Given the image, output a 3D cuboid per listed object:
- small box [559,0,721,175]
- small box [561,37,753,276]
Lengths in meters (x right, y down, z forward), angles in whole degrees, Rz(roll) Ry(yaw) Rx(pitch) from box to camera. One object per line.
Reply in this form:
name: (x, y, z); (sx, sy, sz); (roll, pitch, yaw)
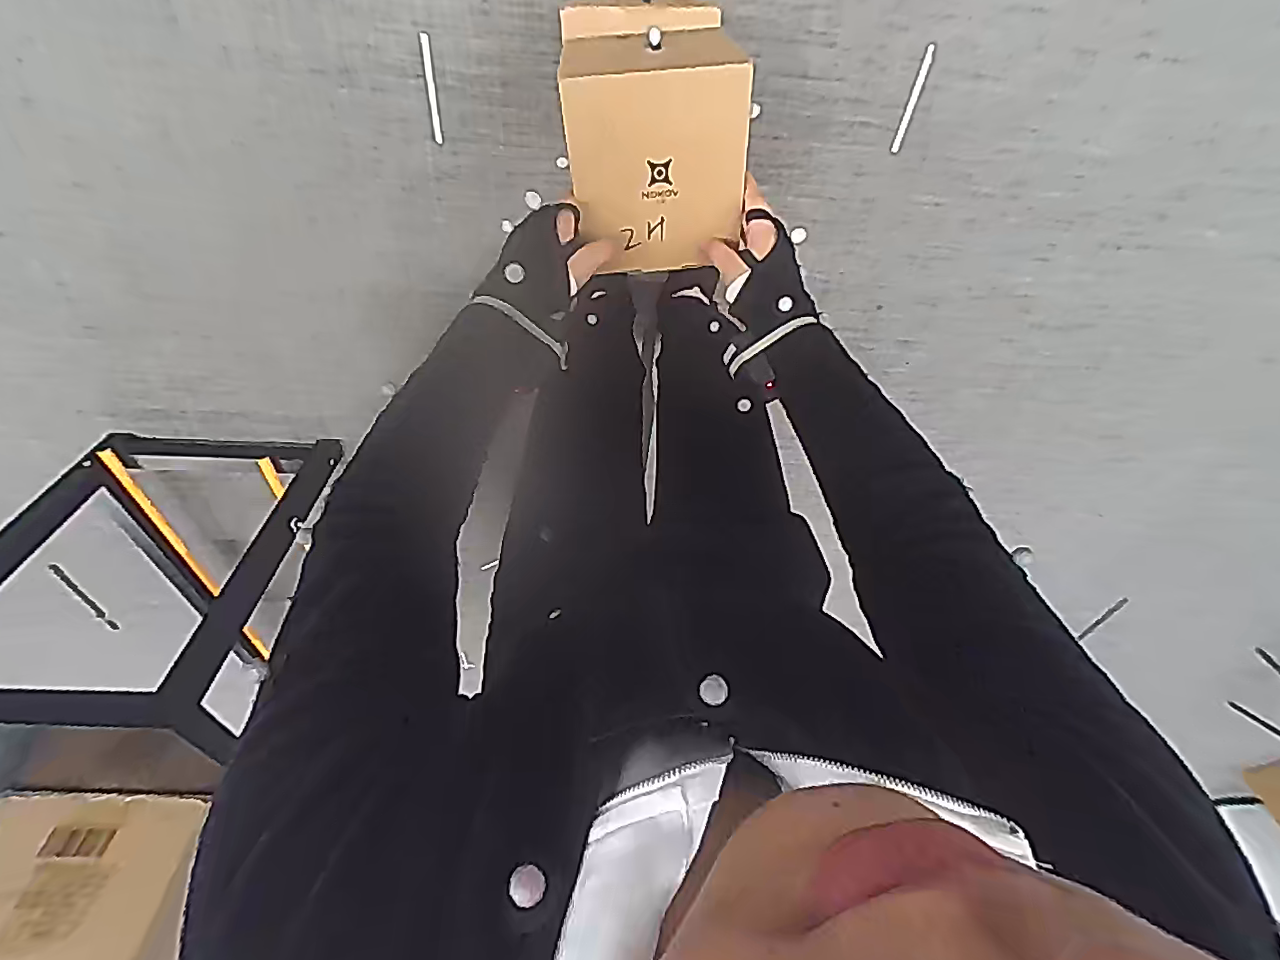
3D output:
small box: (0.000, -0.494, 0.687); (0.179, 0.176, 0.168); (-1, 134, 0)
small box: (0.012, -0.338, 0.562); (0.168, 0.176, 0.179); (-4, 138, 0)
